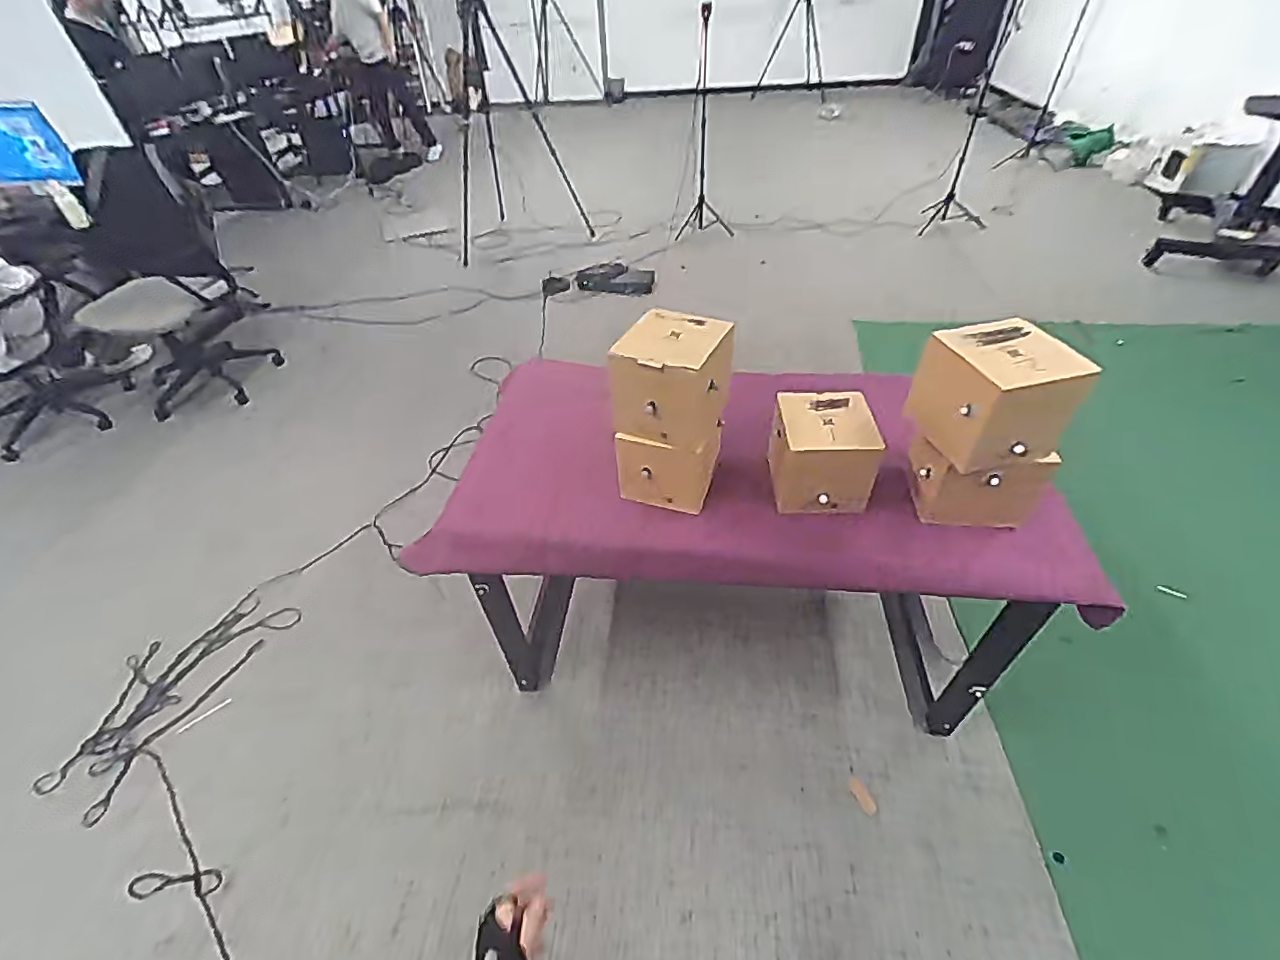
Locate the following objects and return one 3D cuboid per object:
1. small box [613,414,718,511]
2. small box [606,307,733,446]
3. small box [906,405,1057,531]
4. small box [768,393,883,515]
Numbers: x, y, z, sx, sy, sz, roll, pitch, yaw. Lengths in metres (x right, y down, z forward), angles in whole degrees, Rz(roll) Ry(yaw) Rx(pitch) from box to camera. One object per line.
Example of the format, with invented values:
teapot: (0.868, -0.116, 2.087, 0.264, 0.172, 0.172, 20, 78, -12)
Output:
small box: (0.059, -0.062, 1.082, 0.168, 0.176, 0.179, 12, 45, 16)
small box: (0.058, -0.186, 0.974, 0.168, 0.176, 0.179, 18, 48, 21)
small box: (0.614, -0.022, 1.004, 0.179, 0.176, 0.168, 4, 43, 8)
small box: (0.348, -0.052, 1.052, 0.168, 0.176, 0.179, 0, 44, 4)
